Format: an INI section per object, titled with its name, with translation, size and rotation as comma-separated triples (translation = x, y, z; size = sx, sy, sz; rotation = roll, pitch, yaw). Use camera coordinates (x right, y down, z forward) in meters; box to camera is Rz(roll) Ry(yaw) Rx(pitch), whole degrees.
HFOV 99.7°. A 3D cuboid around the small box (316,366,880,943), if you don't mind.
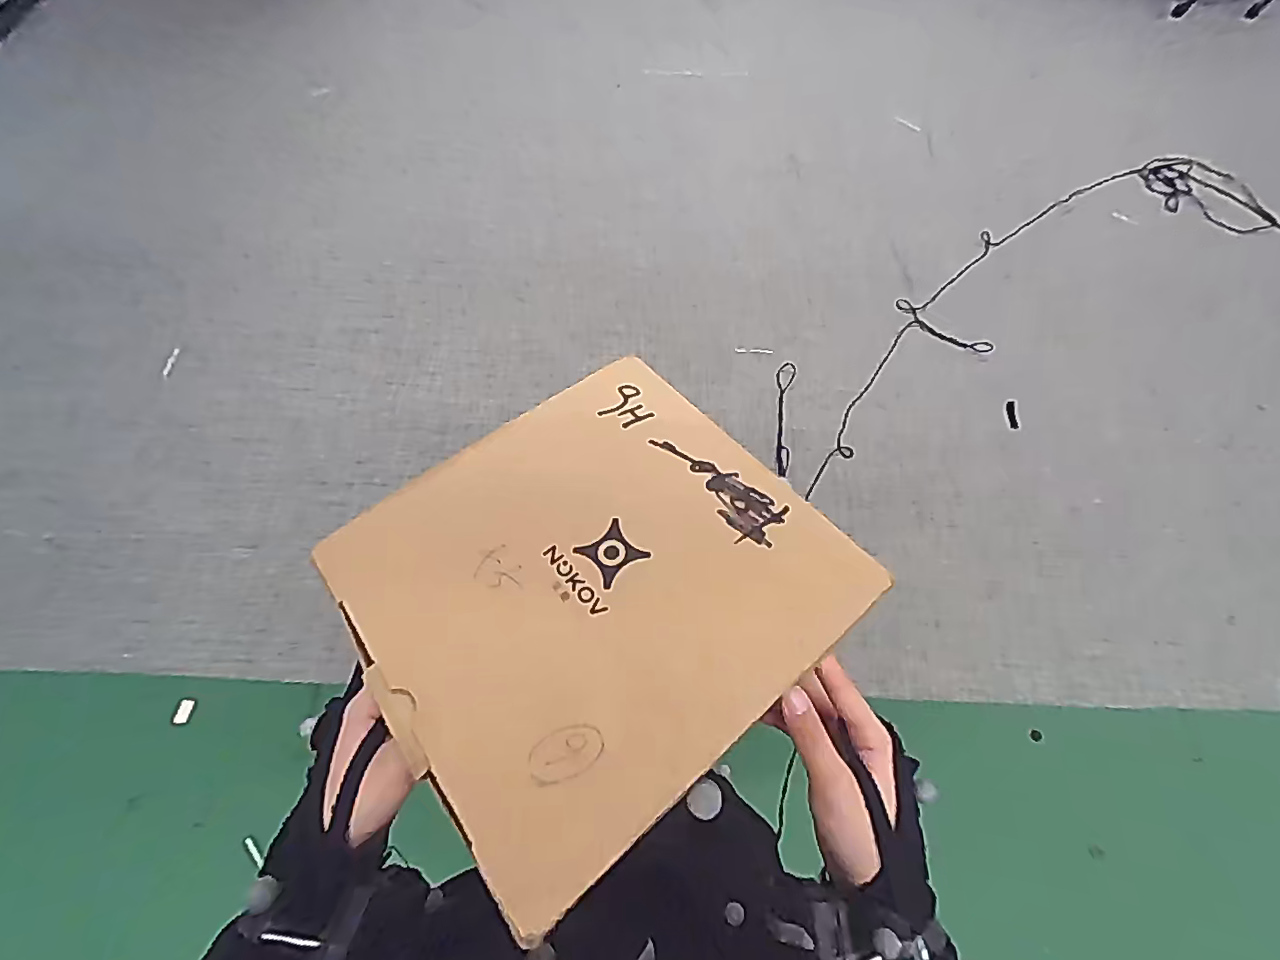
[small box]
translation = -0.017, 0.082, 0.284
size = 0.179, 0.176, 0.168
rotation = -36, 62, -19
